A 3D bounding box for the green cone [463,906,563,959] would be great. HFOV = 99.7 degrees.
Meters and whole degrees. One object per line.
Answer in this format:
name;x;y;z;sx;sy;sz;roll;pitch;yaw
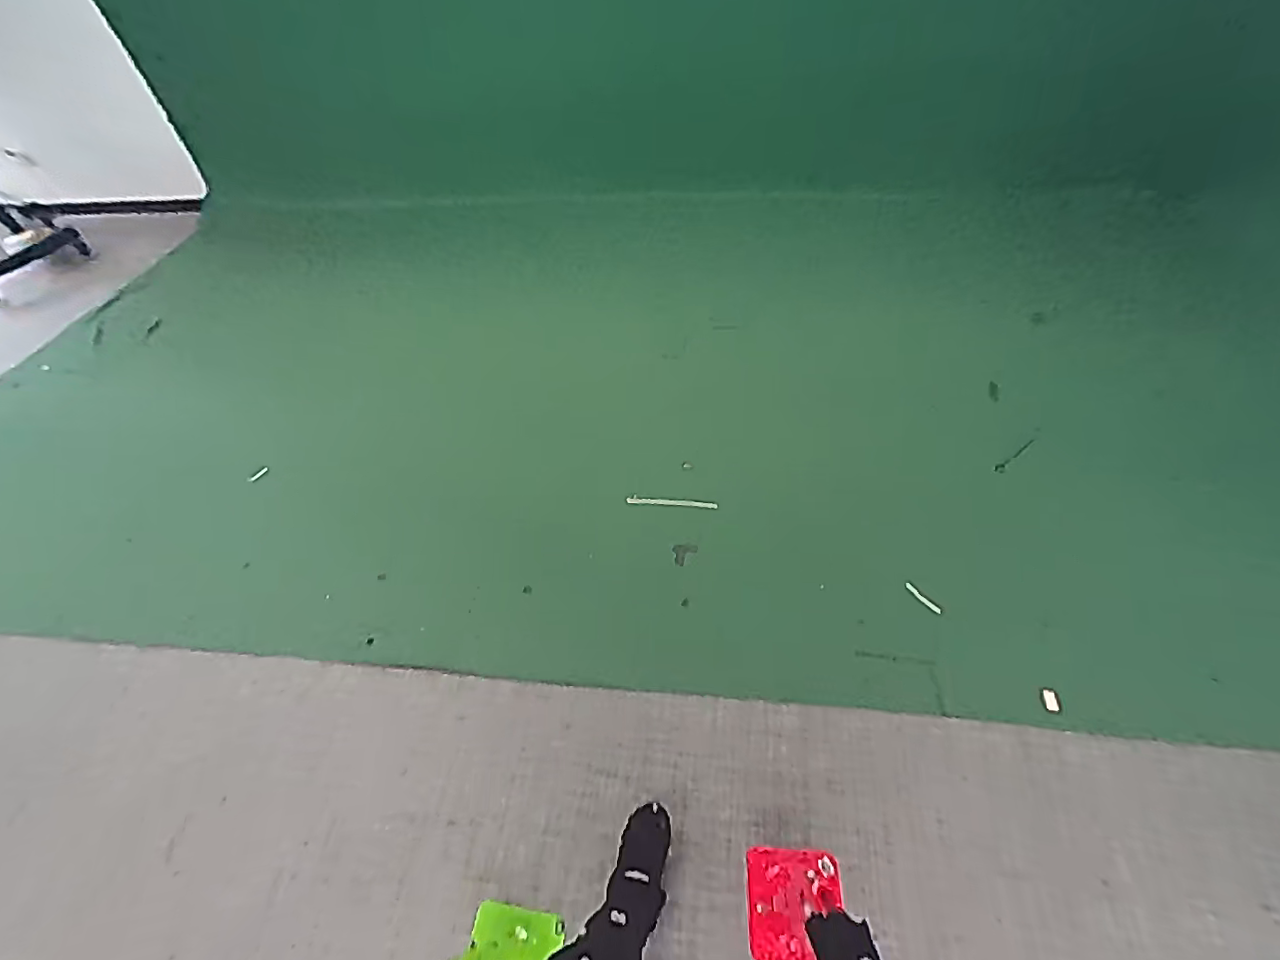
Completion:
green cone;-0.284;0.903;0.976;0.200;0.368;0.202;4;51;9
